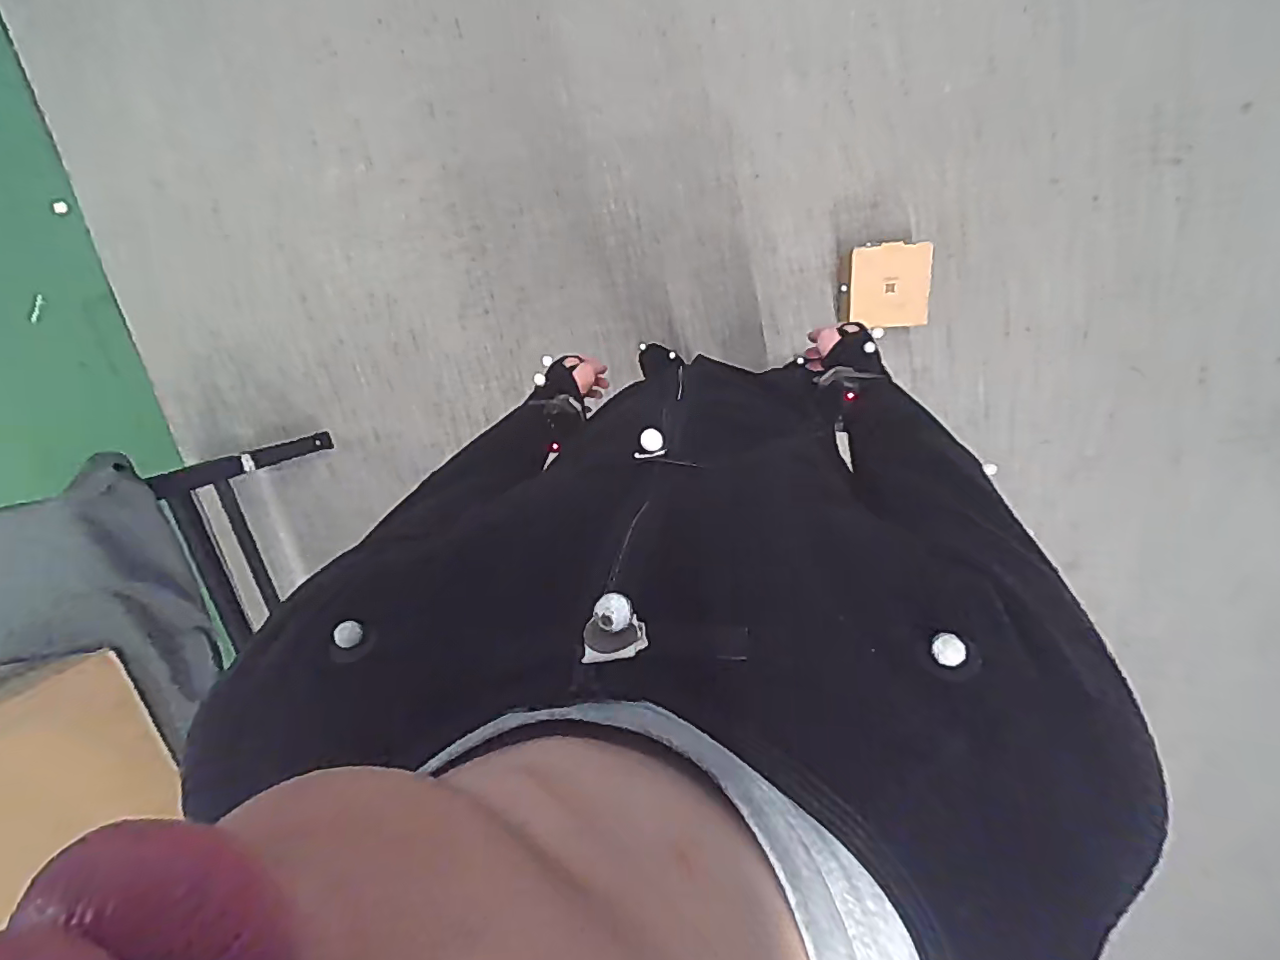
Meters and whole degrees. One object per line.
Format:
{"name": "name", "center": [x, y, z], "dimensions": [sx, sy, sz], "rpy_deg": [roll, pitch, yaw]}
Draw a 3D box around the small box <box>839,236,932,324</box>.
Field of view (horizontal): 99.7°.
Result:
{"name": "small box", "center": [0.566, -0.461, 1.269], "dimensions": [0.168, 0.176, 0.179], "rpy_deg": [0, 108, 13]}
